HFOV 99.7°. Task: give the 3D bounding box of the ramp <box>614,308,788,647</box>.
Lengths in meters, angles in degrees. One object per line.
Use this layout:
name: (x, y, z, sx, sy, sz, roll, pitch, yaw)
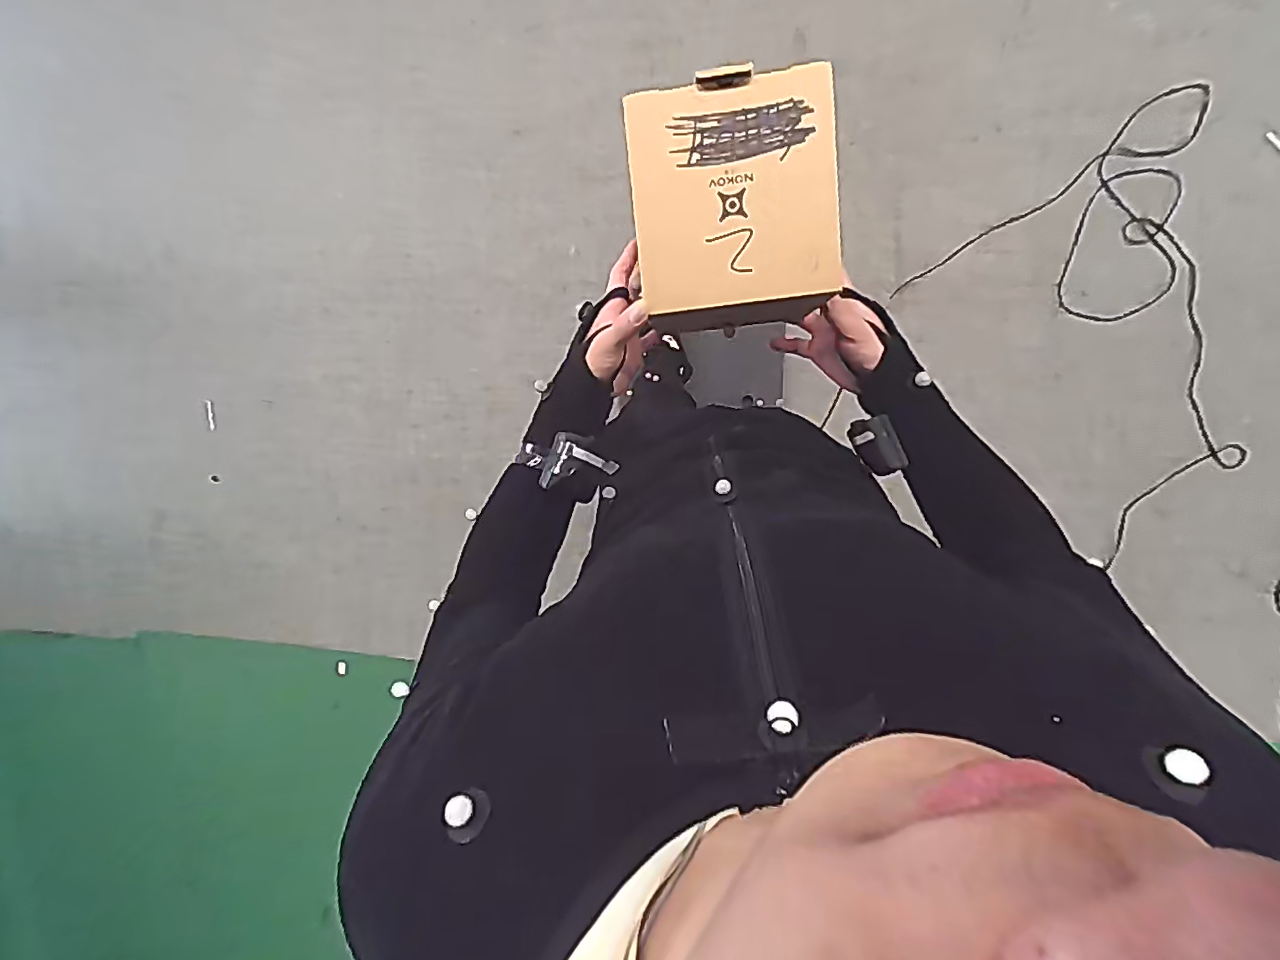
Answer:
ramp: (0.175, -0.012, 1.617, 0.509, 0.206, 0.991, 1, 101, 9)
